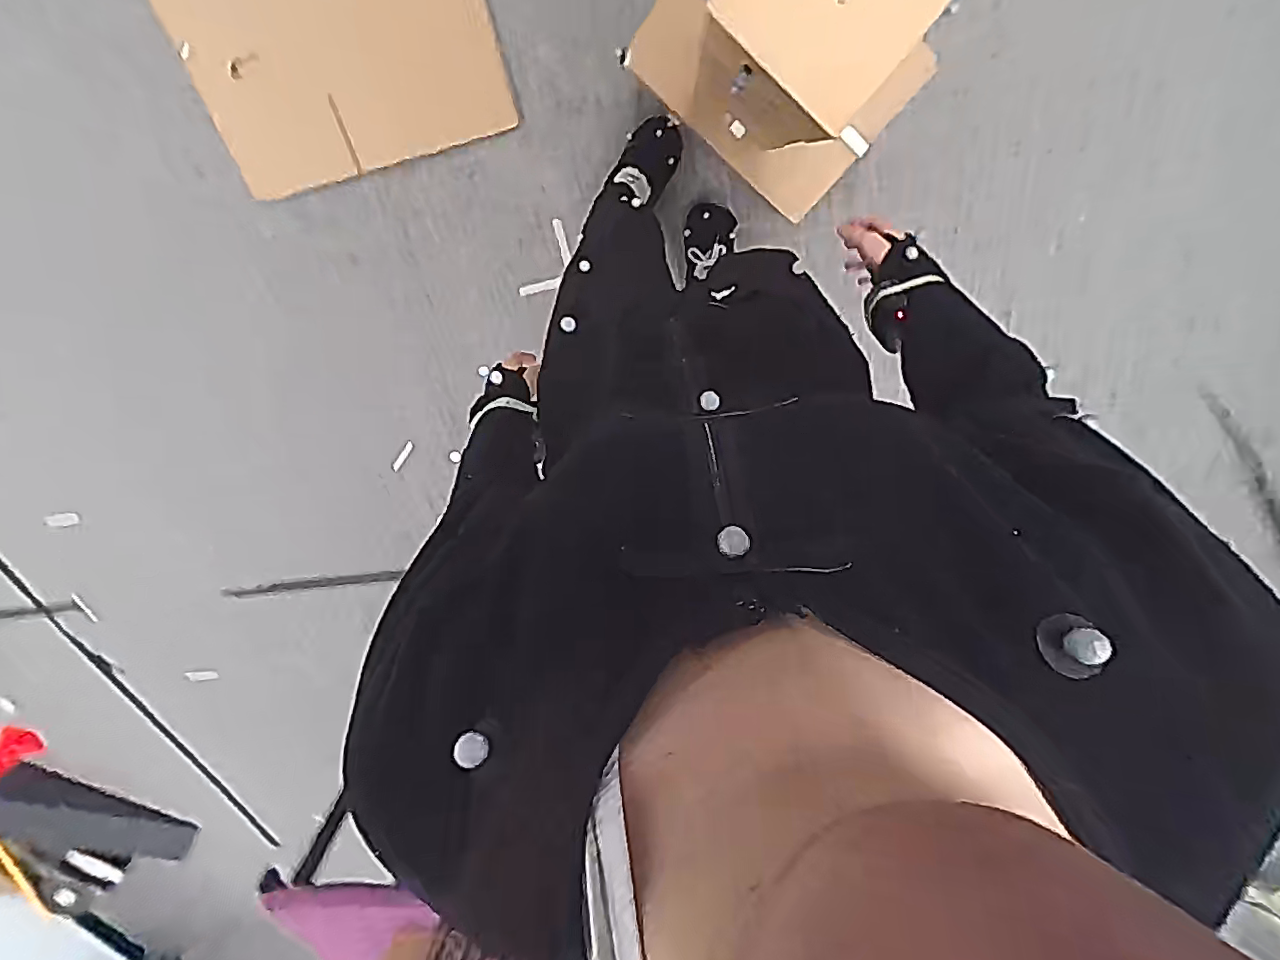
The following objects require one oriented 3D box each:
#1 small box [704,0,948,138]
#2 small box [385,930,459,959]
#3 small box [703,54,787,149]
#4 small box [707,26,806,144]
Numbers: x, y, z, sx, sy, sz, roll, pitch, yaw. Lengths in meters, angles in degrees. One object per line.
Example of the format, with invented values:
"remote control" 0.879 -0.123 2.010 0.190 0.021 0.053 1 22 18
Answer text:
"small box" 0.179 -0.461 0.517 0.168 0.176 0.179 36 116 -14
"small box" -0.654 1.462 1.591 0.179 0.176 0.168 -5 118 10
"small box" 0.205 -0.626 0.799 0.168 0.176 0.179 36 118 -14
"small box" 0.192 -0.546 0.656 0.168 0.176 0.179 36 116 -14
